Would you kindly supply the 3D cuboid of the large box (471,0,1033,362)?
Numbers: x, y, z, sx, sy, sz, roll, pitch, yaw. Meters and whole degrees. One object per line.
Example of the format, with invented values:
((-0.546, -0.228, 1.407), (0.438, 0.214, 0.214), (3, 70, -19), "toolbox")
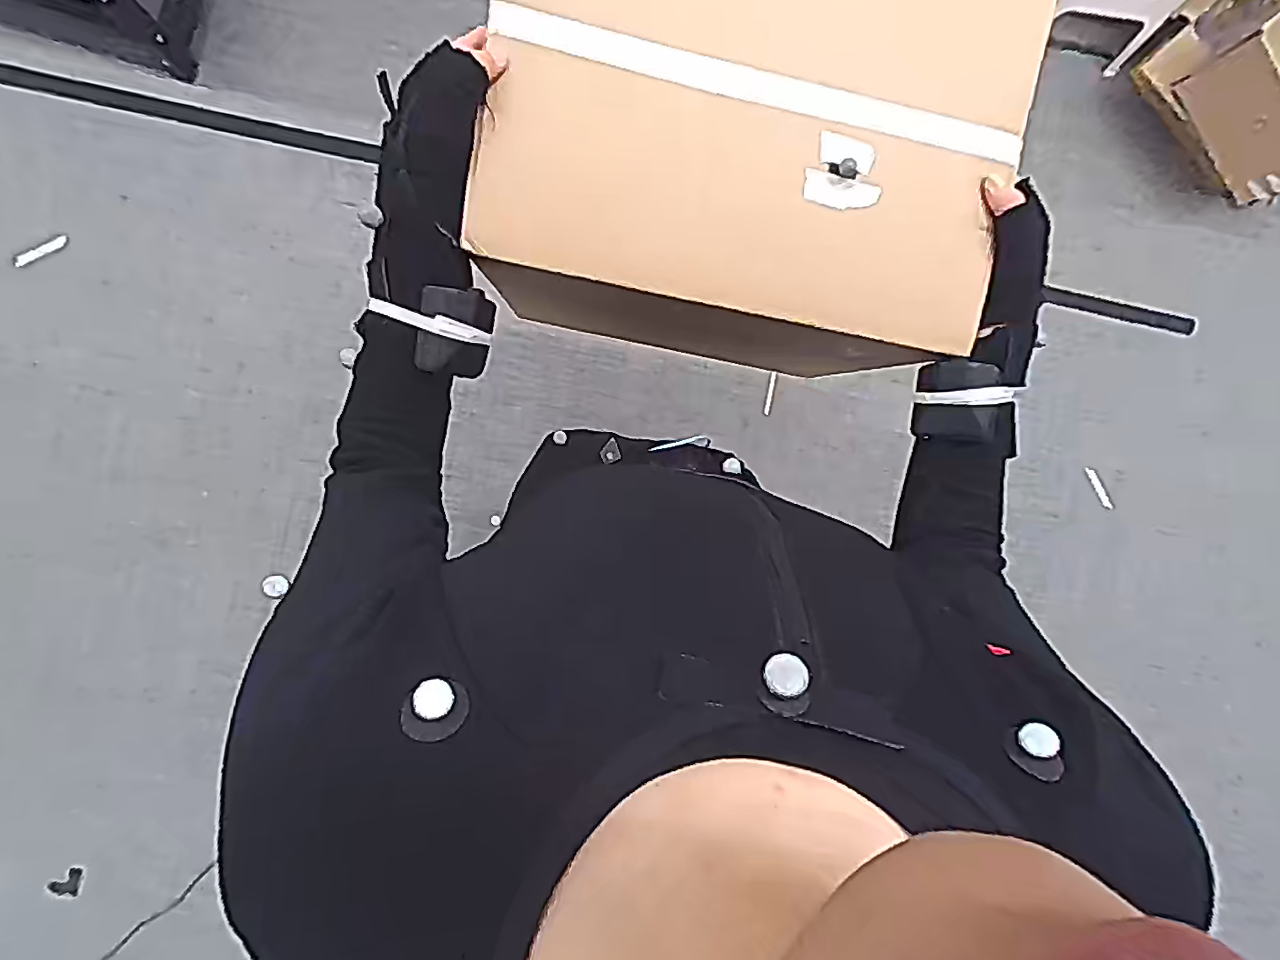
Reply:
((0.074, -0.316, 0.552), (0.408, 0.320, 0.320), (9, 98, -7), "large box")
